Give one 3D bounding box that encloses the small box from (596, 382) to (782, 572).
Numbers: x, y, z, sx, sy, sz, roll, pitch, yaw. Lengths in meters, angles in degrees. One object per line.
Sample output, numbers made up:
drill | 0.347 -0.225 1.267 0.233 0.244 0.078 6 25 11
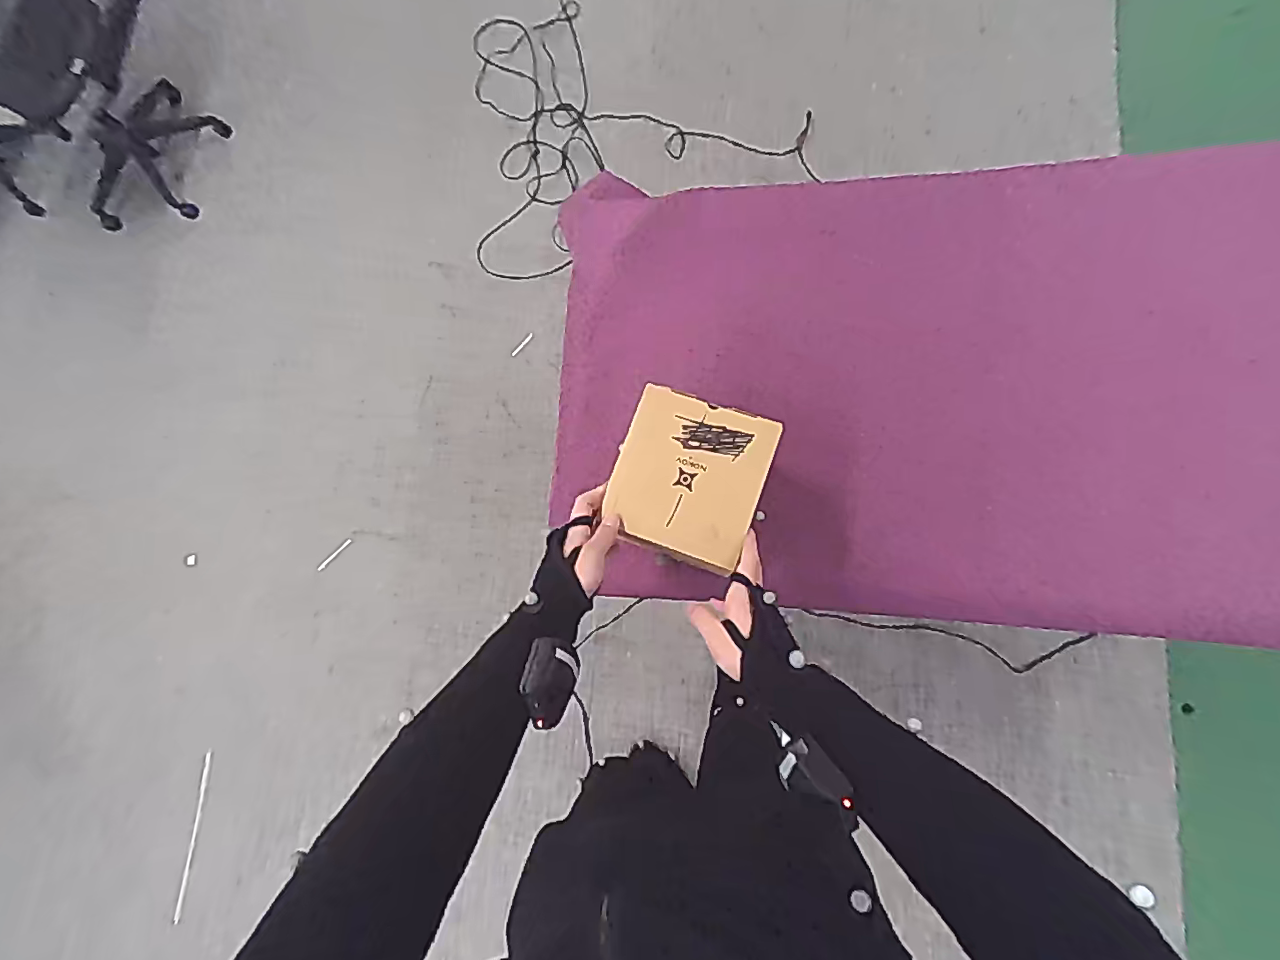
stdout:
small box | 0.064 0.006 0.684 0.168 0.176 0.179 20 82 11
